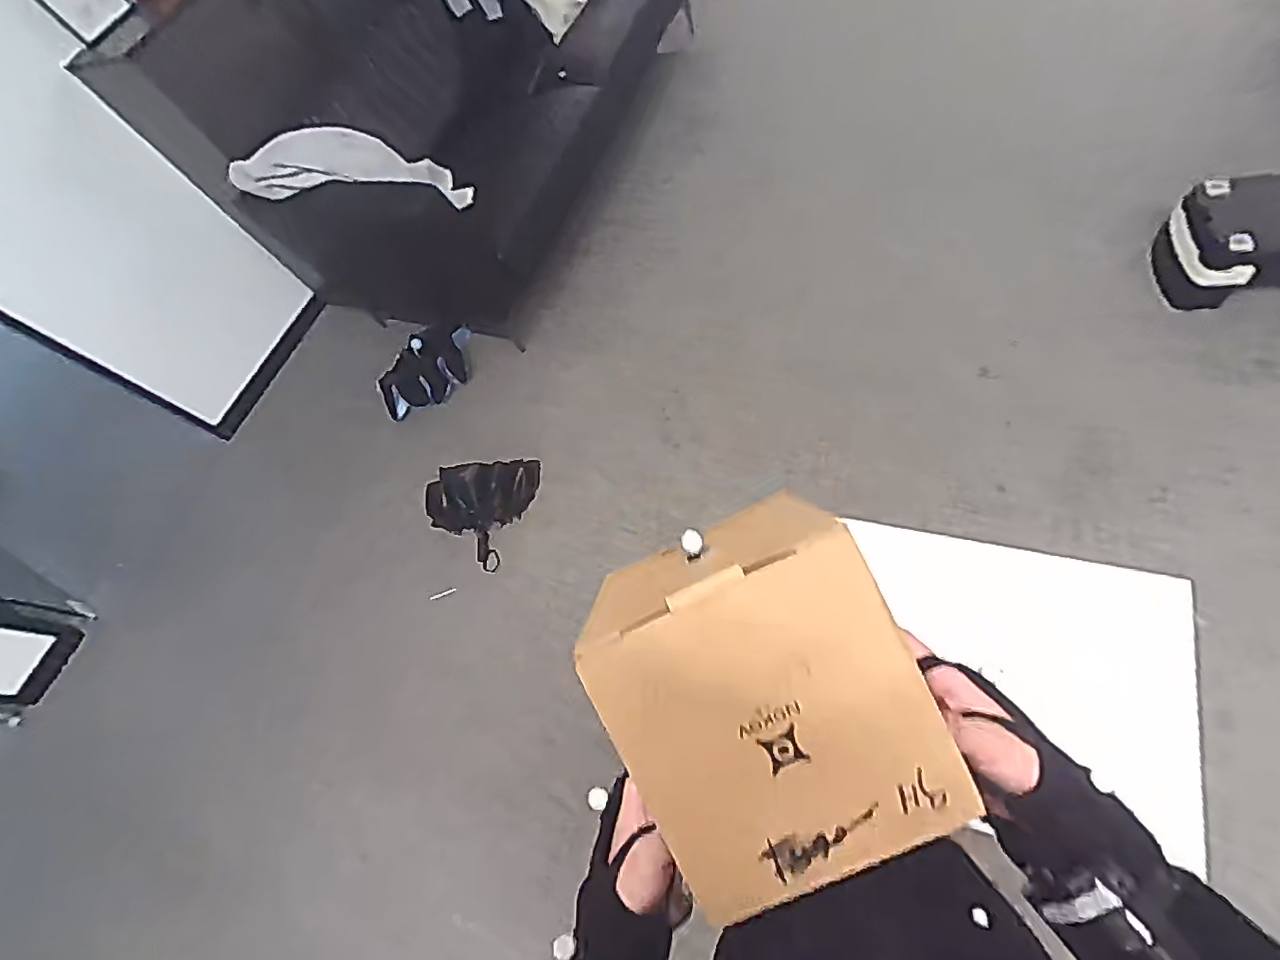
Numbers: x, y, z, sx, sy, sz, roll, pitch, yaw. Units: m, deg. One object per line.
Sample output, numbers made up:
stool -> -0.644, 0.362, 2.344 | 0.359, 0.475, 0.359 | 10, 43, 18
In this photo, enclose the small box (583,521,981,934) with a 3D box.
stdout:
small box -> 0.079, 0.139, 0.374 | 0.168, 0.176, 0.179 | -27, 92, 5
